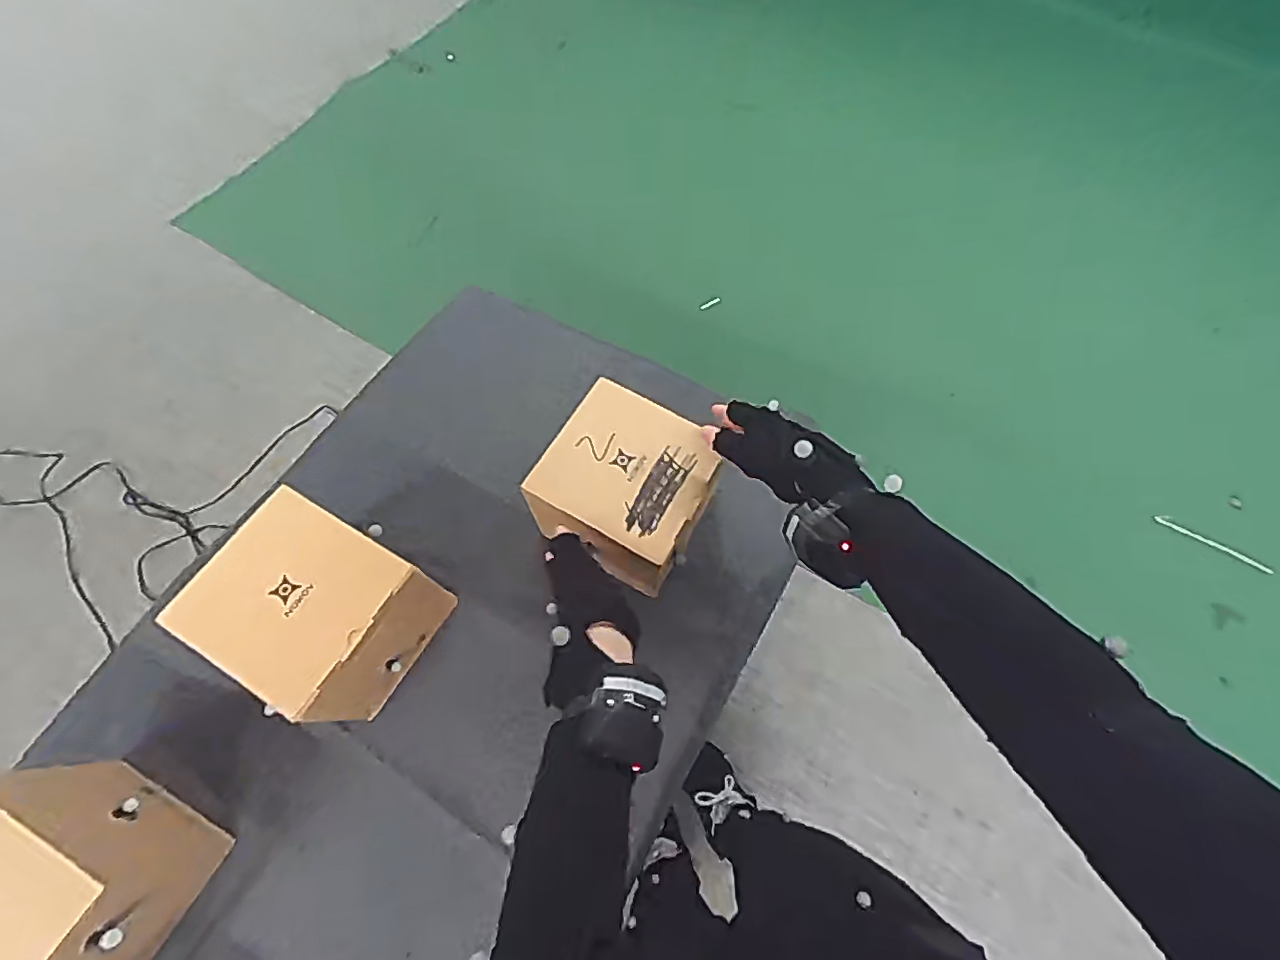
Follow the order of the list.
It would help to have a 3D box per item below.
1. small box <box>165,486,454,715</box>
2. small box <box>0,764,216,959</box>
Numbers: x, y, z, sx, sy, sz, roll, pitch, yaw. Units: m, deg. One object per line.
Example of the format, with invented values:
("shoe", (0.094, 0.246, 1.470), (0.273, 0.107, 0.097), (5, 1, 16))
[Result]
("small box", (-0.340, 0.141, 0.597), (0.179, 0.176, 0.168), (30, 68, 9))
("small box", (-0.533, 0.379, 0.479), (0.168, 0.176, 0.179), (28, 69, 8))
